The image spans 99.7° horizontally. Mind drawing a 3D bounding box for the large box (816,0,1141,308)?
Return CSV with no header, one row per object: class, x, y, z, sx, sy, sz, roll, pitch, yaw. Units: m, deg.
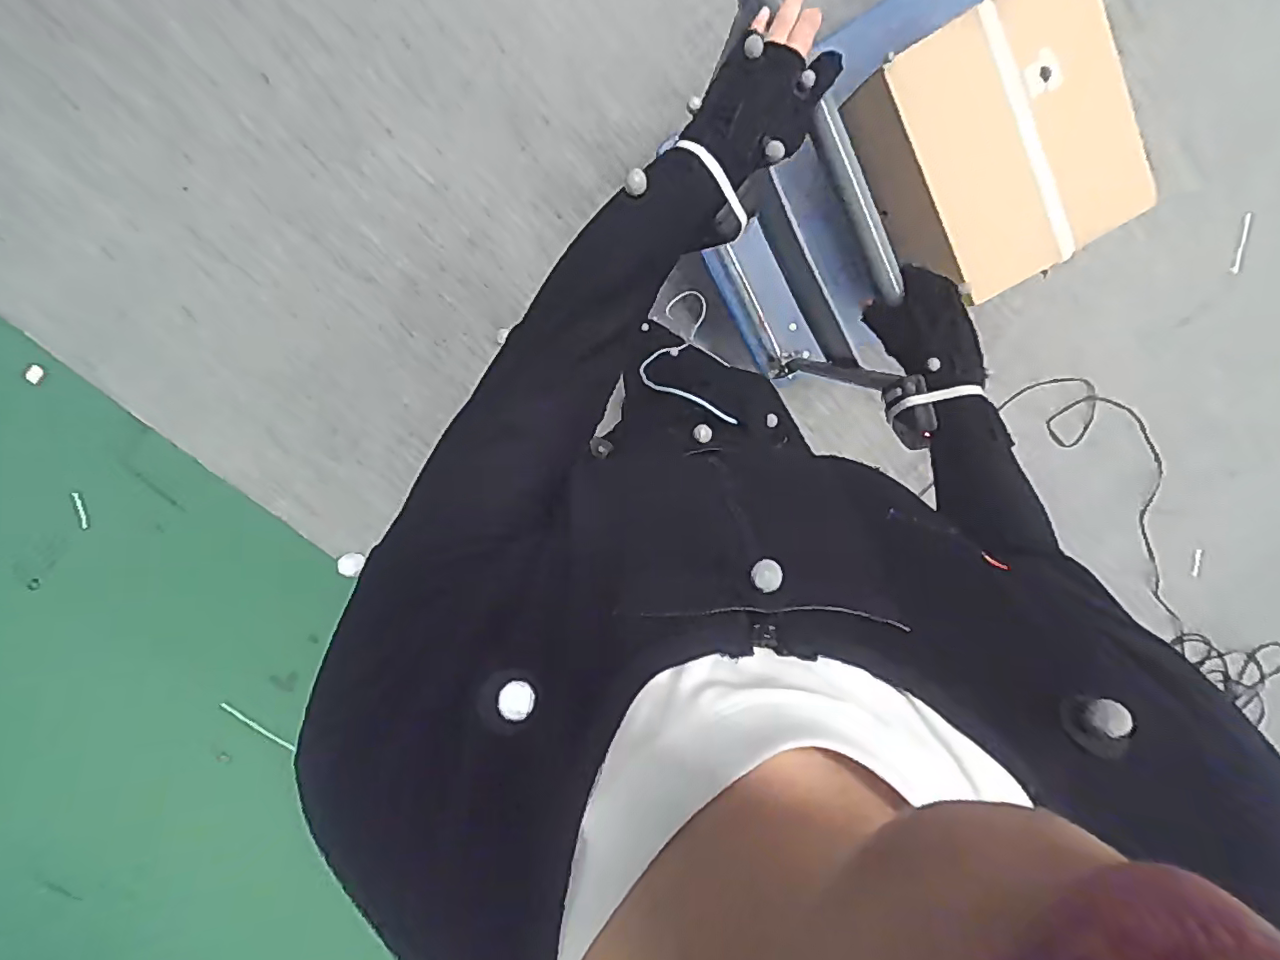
large box,0.584,-0.575,0.994,0.320,0.320,0.408,-29,103,8
